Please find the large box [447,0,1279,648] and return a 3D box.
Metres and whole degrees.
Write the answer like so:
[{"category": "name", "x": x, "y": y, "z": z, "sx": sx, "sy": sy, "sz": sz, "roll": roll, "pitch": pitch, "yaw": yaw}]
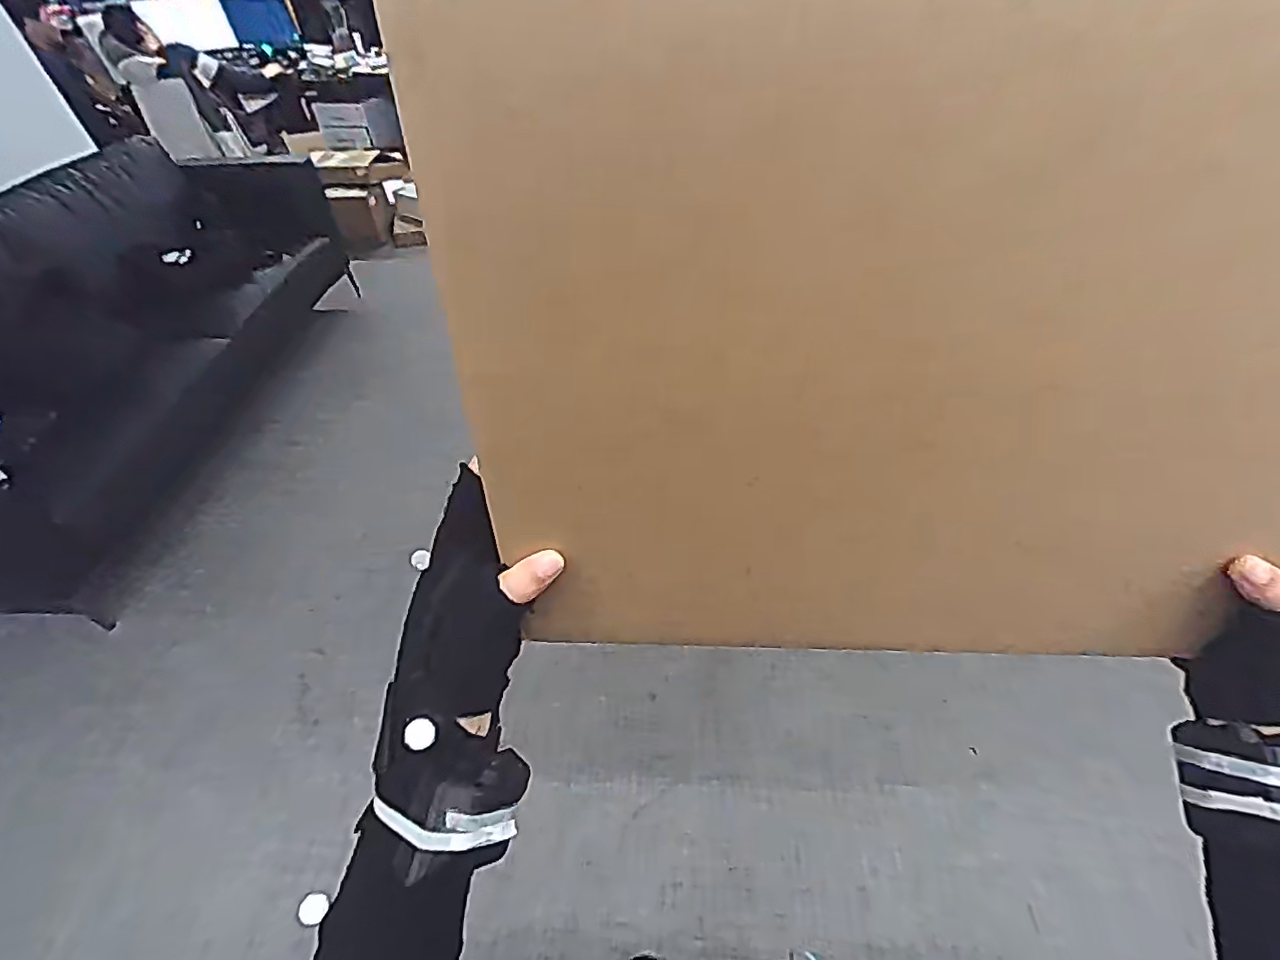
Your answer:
[{"category": "large box", "x": 0.138, "y": -0.111, "z": 0.342, "sx": 0.408, "sy": 0.320, "sz": 0.320, "roll": 2, "pitch": 40, "yaw": -1}]
